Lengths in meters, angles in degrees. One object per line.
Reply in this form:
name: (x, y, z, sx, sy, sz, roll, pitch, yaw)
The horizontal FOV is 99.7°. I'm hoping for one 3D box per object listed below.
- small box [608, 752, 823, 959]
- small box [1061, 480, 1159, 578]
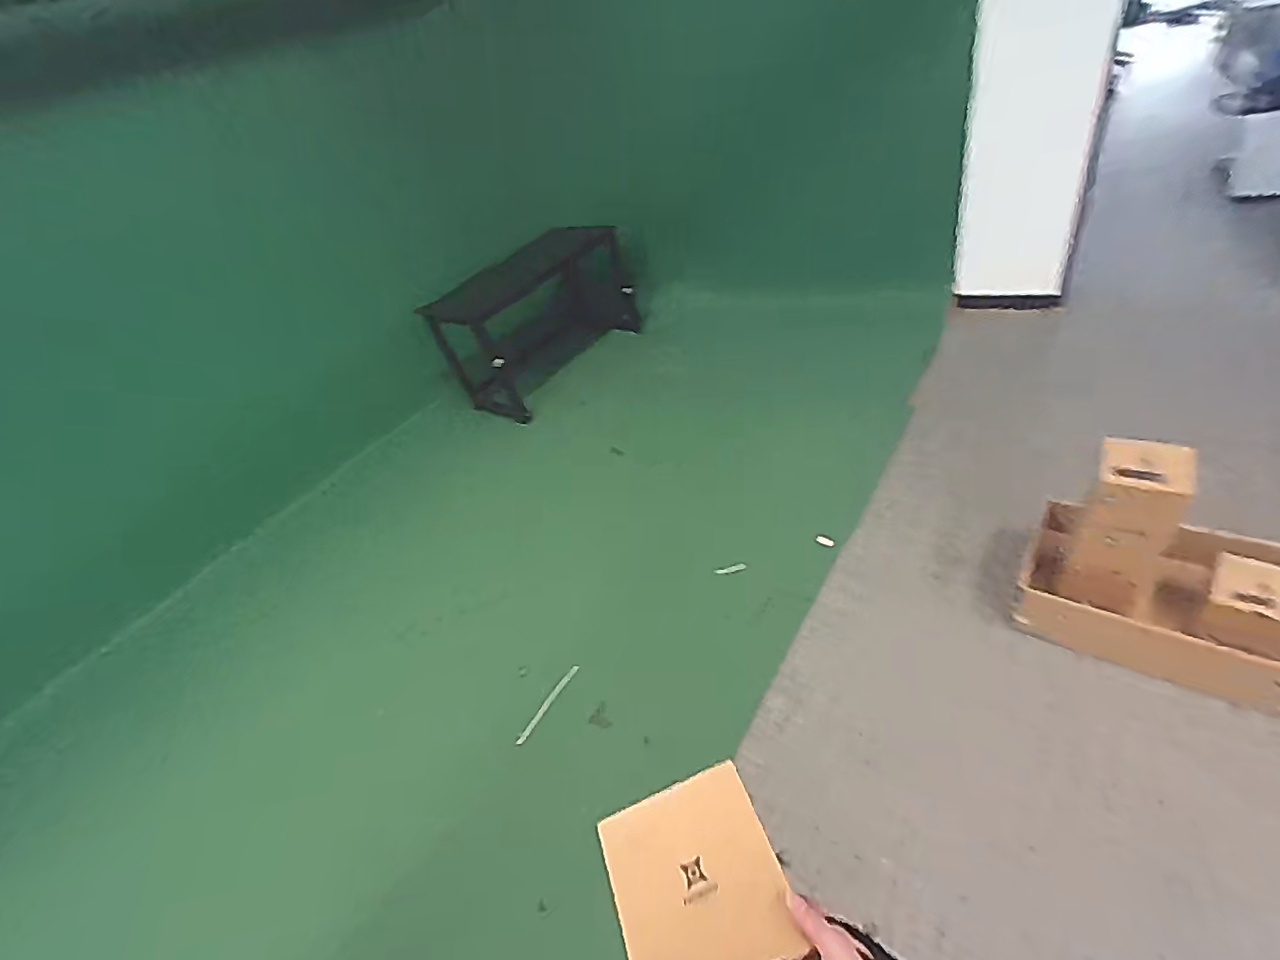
small box: (0.079, 0.441, 0.589, 0.168, 0.176, 0.179, -21, 41, -5)
small box: (1.262, 0.131, 1.458, 0.168, 0.176, 0.179, 14, 50, 35)
